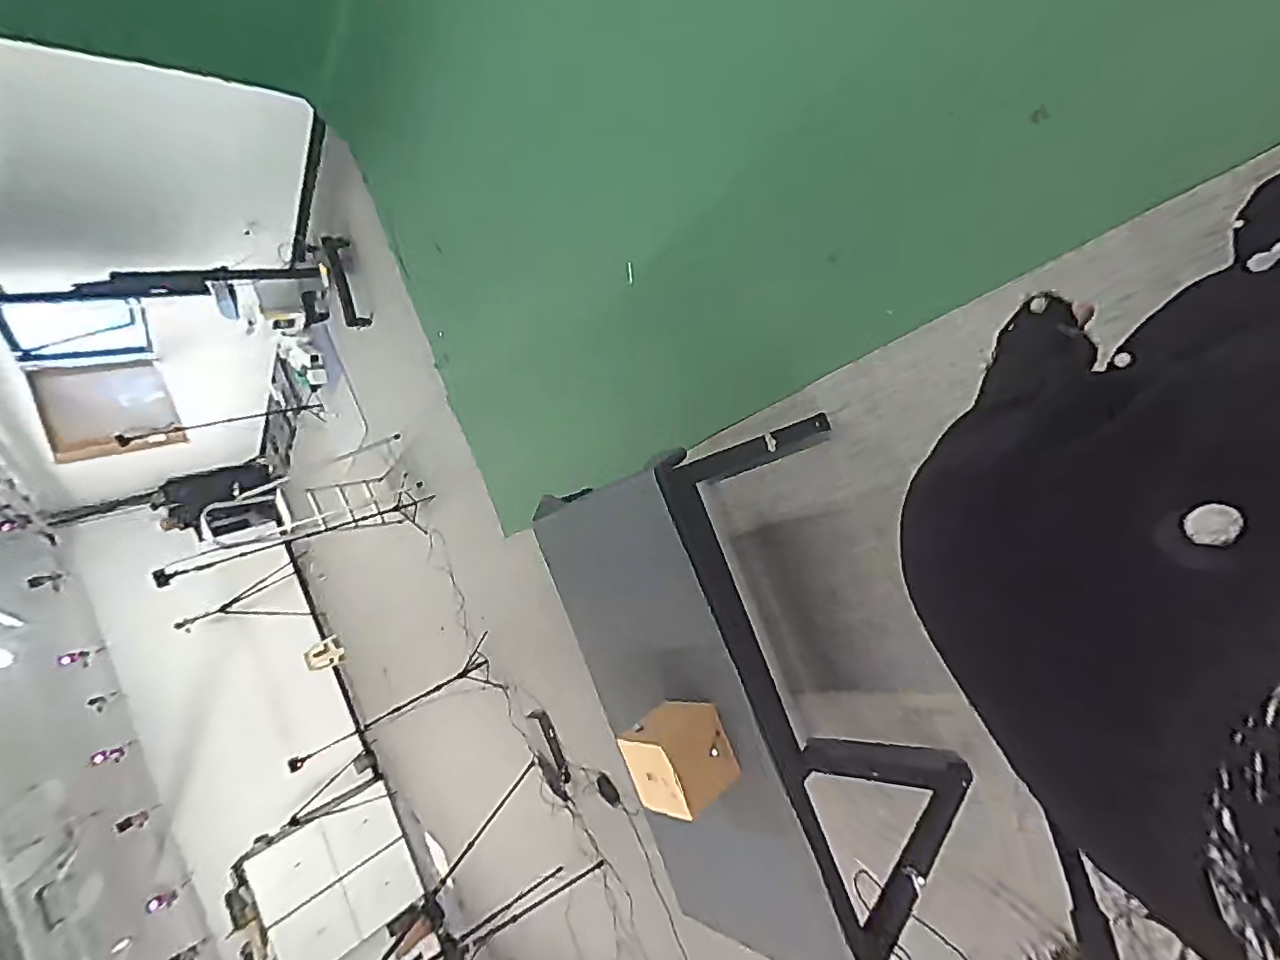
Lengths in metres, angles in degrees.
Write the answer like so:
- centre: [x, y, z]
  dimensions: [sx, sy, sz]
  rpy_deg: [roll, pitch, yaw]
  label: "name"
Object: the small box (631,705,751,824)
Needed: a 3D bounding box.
- centre: [0.115, 0.627, 1.218]
  dimensions: [0.179, 0.176, 0.168]
  rpy_deg: [-27, 85, 50]
  label: "small box"
